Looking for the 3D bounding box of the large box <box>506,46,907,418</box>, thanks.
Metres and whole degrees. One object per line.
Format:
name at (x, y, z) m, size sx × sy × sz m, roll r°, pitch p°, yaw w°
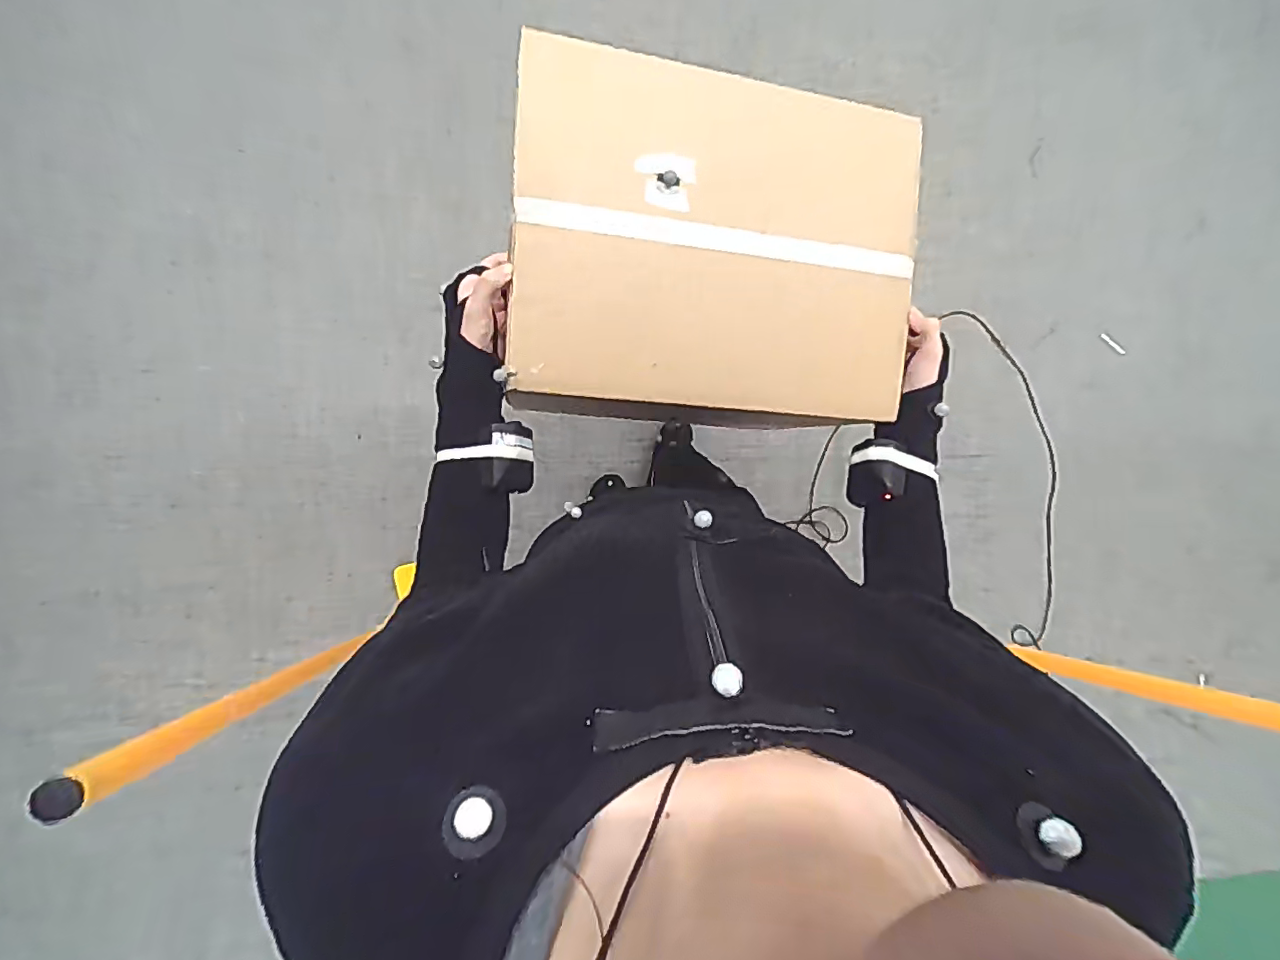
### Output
large box at (0.049, -0.244, 0.678) m, size 0.408 × 0.320 × 0.320 m, roll 3°, pitch 93°, yaw -12°
